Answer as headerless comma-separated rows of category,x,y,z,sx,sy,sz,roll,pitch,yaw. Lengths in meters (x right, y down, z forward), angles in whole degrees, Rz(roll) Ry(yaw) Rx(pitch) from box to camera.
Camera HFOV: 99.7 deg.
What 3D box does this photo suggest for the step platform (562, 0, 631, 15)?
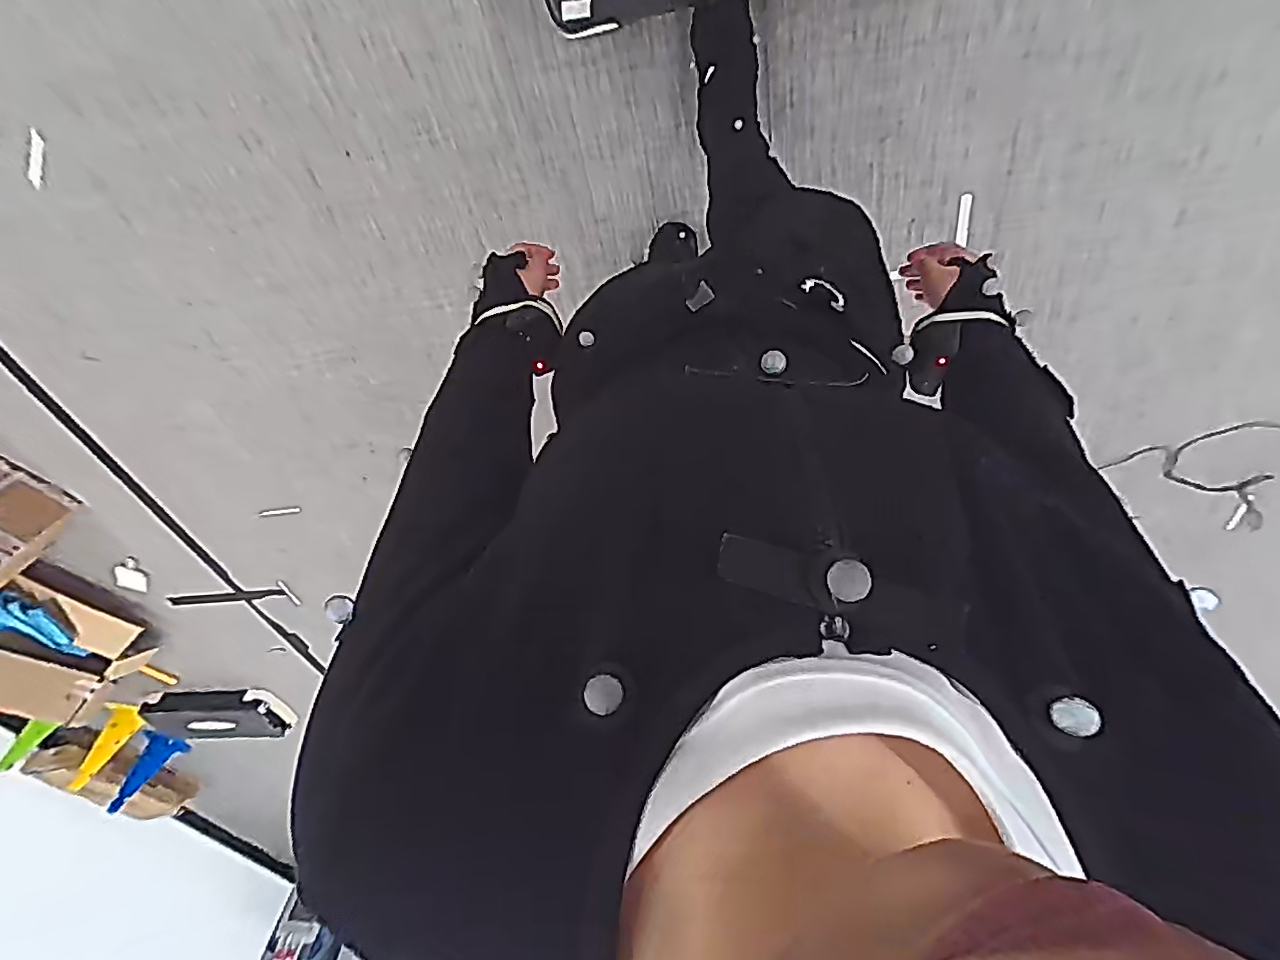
step platform,0.171,-0.902,0.744,0.684,0.204,0.286,-7,128,10
